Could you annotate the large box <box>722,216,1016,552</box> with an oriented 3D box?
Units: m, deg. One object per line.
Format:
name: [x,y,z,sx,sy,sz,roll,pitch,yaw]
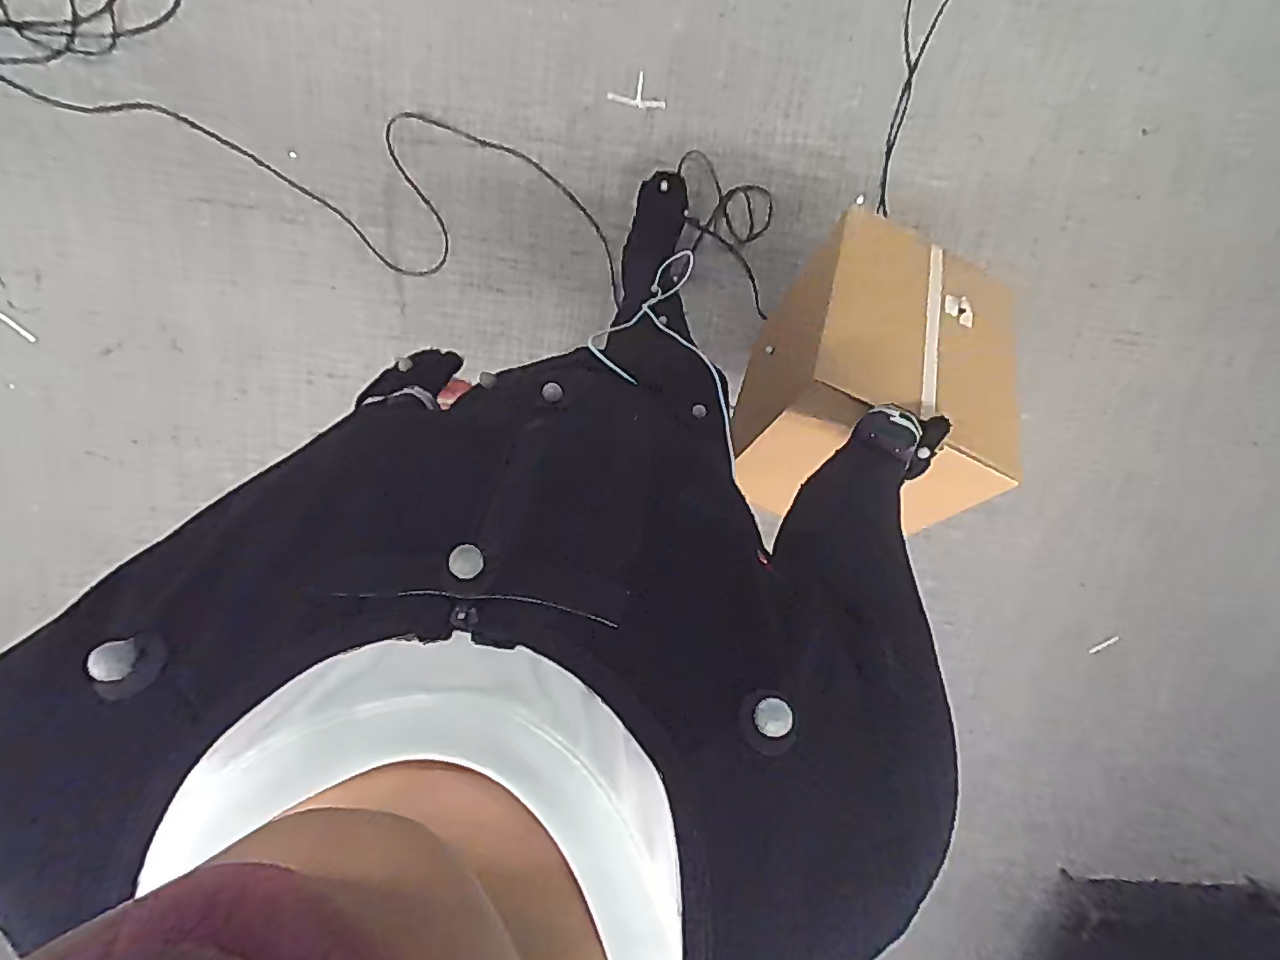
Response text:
large box: [0.374,-0.148,0.925,0.320,0.408,0.320,25,149,-6]
